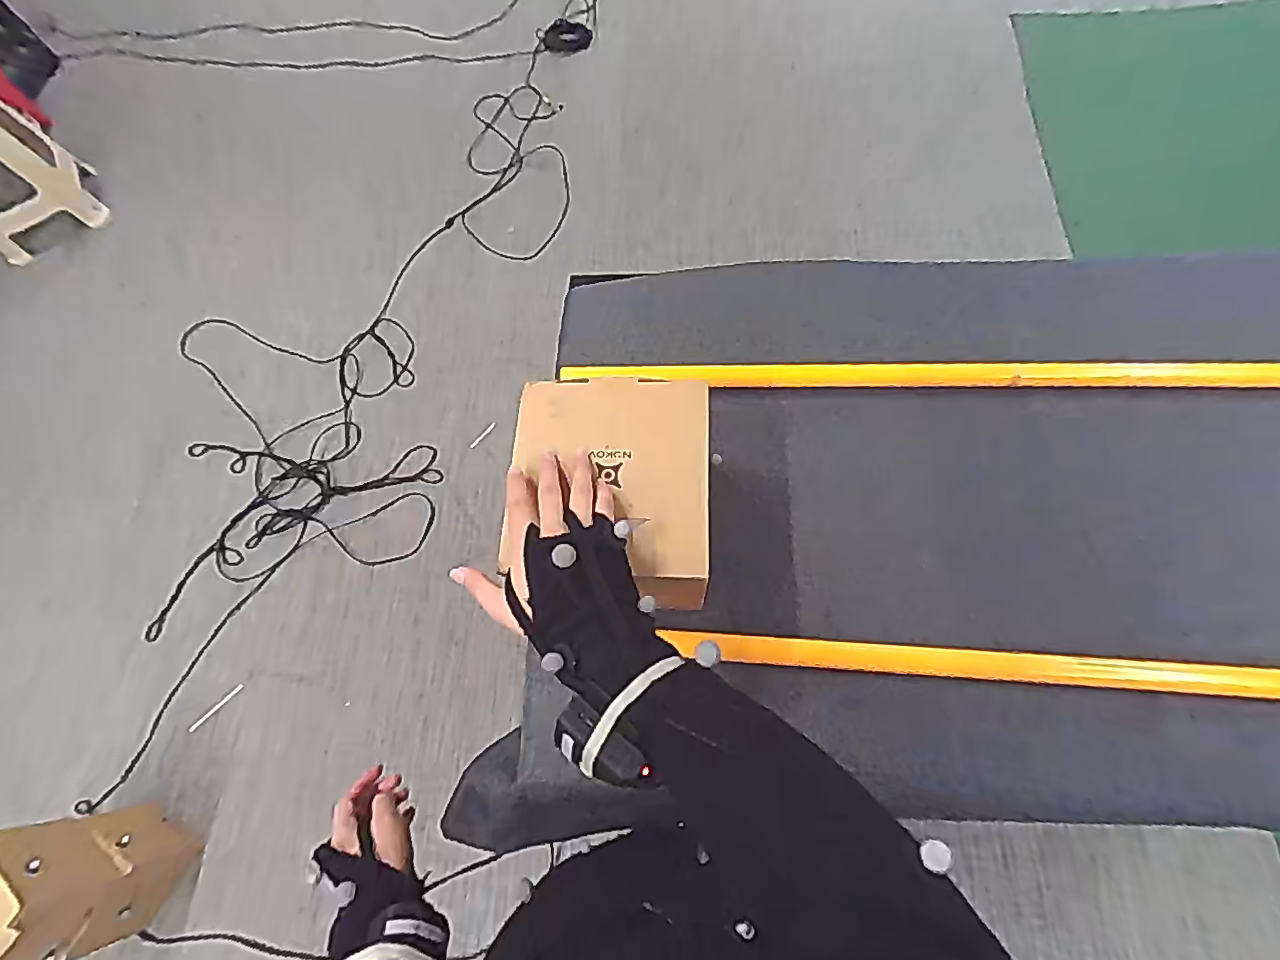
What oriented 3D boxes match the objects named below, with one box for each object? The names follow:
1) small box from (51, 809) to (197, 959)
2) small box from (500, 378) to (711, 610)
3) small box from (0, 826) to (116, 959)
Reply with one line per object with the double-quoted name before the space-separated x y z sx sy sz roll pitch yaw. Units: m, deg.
"small box" -1.049 0.792 1.070 0.168 0.176 0.179 26 72 14
"small box" -0.019 0.021 0.517 0.168 0.176 0.179 0 69 5
"small box" -1.072 0.727 0.919 0.179 0.176 0.168 31 72 16
